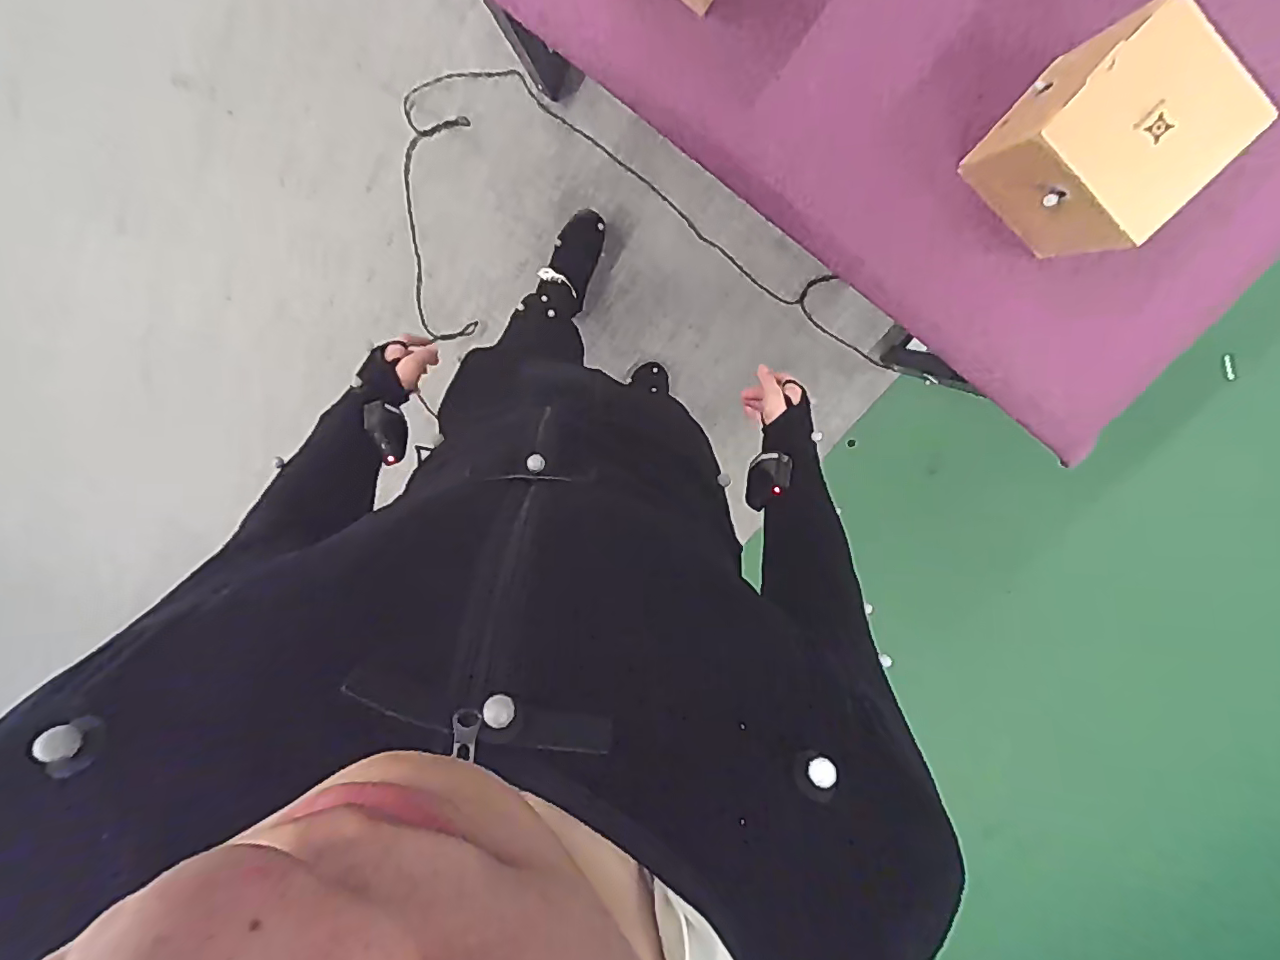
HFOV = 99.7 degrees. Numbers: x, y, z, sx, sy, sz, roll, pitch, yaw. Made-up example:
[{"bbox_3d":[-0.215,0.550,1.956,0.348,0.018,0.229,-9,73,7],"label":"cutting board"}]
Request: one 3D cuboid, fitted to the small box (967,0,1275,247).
[{"bbox_3d":[0.543,-0.399,0.640,0.179,0.176,0.168,39,106,-9],"label":"small box"}]
